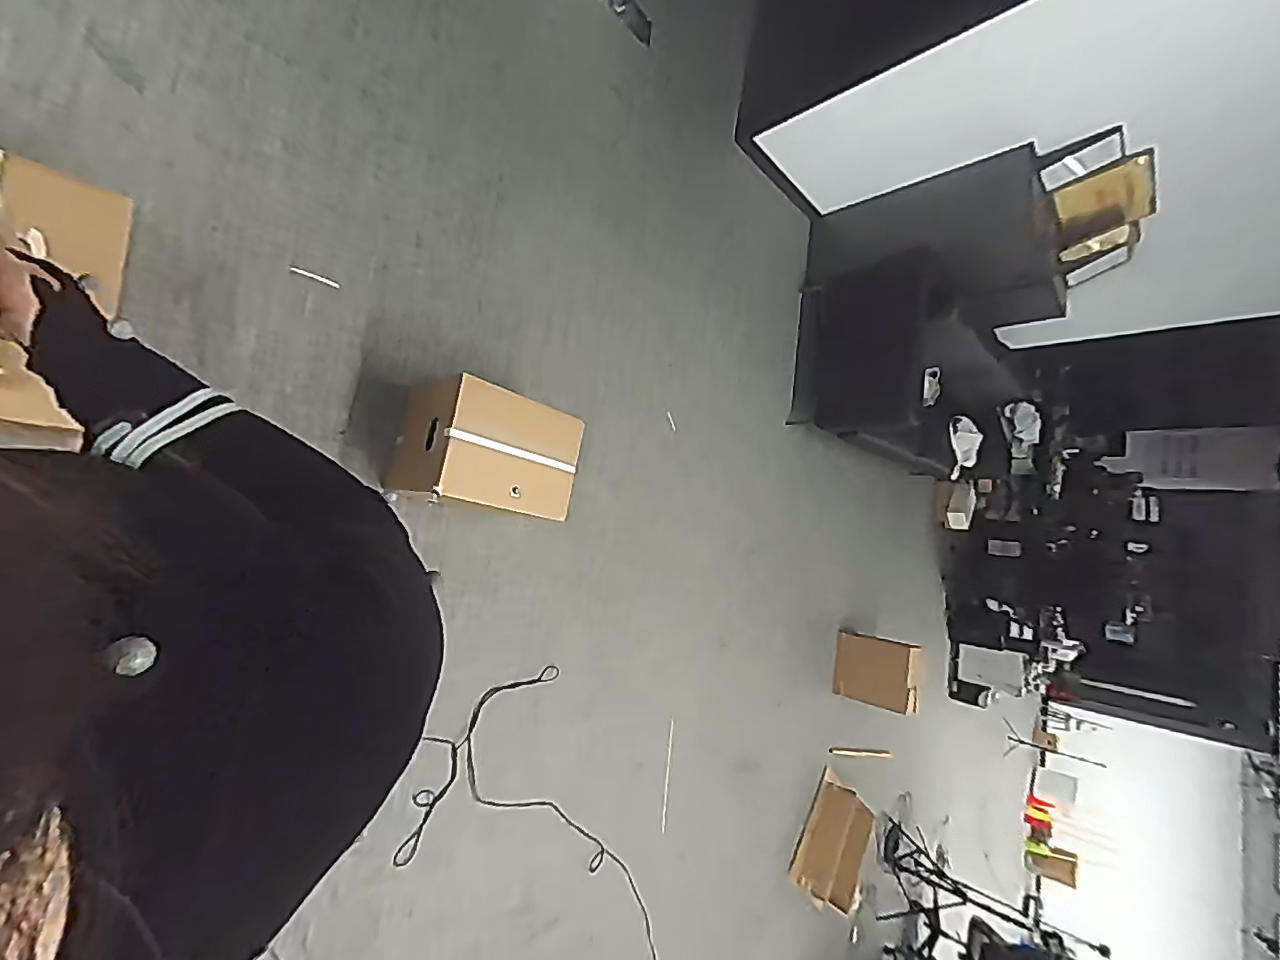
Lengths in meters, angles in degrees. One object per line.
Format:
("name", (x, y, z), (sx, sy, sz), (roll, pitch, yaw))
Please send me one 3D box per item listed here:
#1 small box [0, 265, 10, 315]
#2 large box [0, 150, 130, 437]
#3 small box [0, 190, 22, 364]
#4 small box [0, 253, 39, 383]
("small box", (-0.512, -0.182, 0.311), (0.168, 0.176, 0.179), (-17, 113, -44))
("large box", (-1.084, -0.298, 0.892), (0.320, 0.320, 0.408), (10, 83, -46))
("small box", (-0.809, -0.234, 0.591), (0.168, 0.176, 0.179), (3, 88, -46))
("small box", (-0.927, -0.228, 0.705), (0.179, 0.176, 0.168), (8, 84, -45))
